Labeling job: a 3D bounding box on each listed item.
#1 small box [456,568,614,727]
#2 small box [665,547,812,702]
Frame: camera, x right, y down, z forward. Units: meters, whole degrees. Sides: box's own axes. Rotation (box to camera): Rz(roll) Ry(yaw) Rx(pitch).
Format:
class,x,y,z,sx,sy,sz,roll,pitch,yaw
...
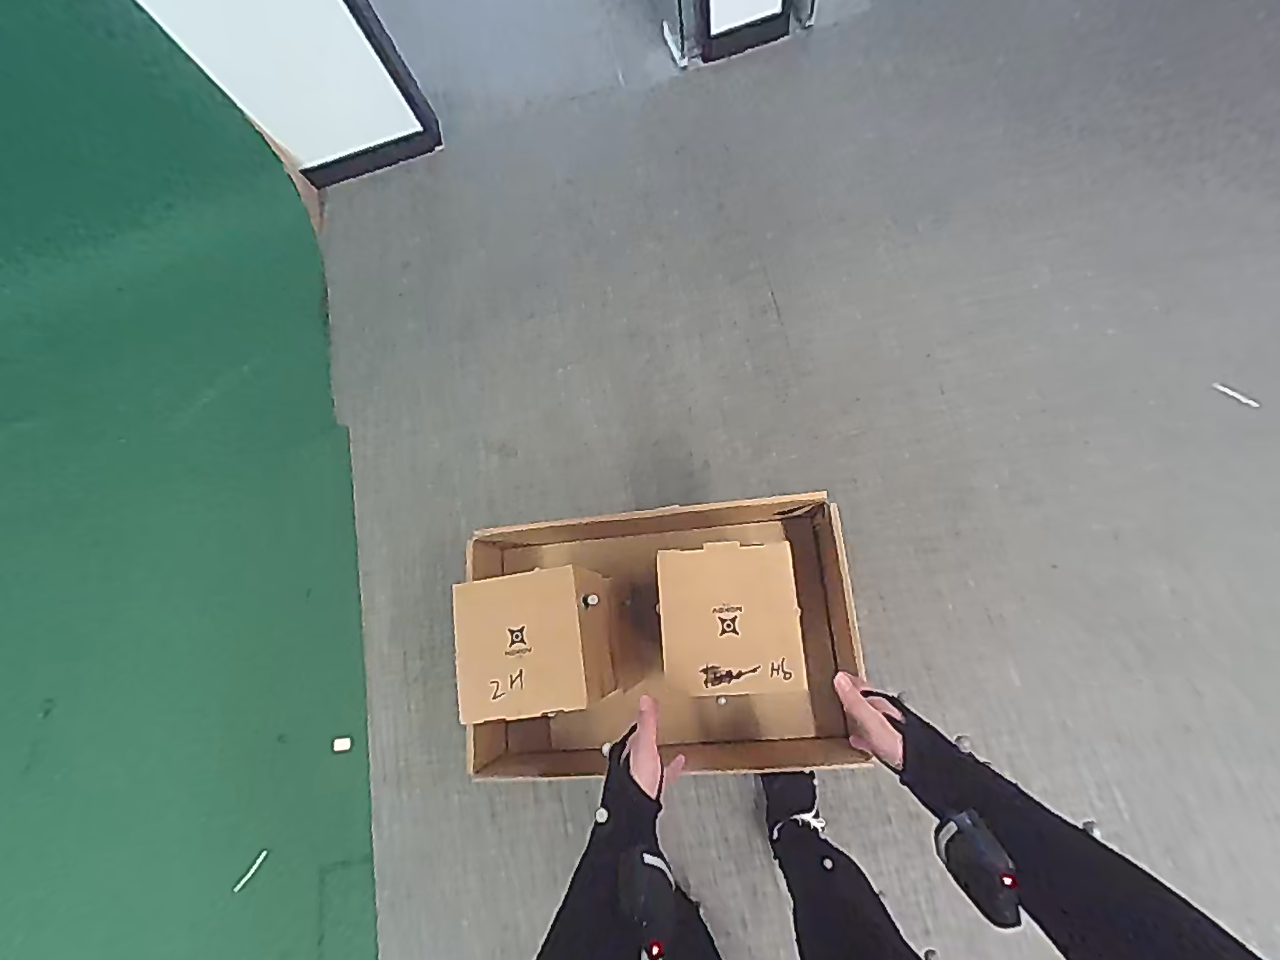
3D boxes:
class,x,y,z,sx,sy,sz,roll,pitch,yaw
small box,-0.137,0.225,0.745,0.168,0.176,0.179,-9,76,7
small box,0.123,0.188,0.717,0.168,0.176,0.179,-4,77,7
